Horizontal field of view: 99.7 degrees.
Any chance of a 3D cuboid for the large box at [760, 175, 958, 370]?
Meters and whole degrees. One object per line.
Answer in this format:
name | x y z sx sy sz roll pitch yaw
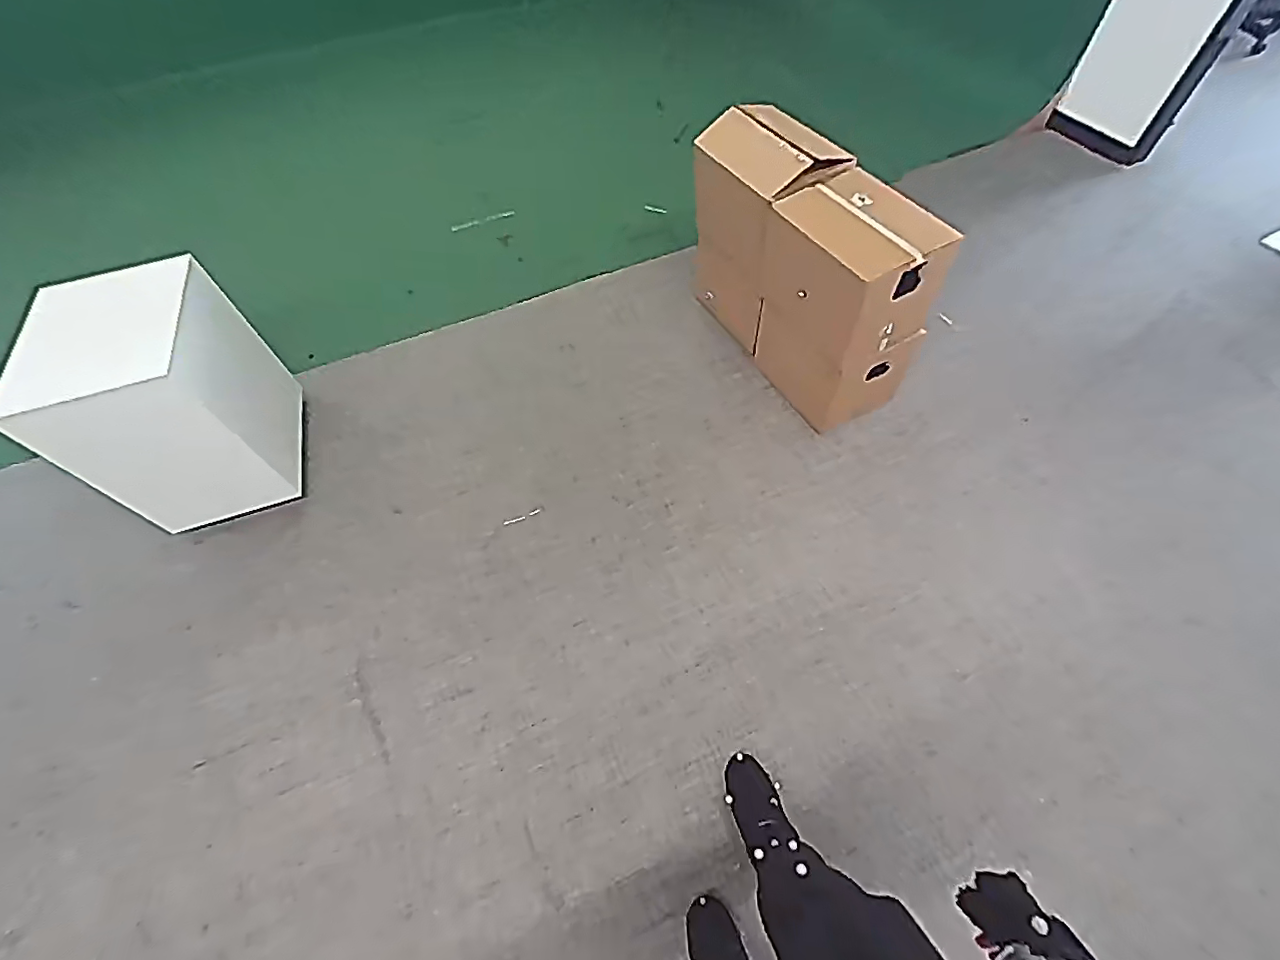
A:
large box | 0.594 -0.595 1.558 0.320 0.320 0.408 -27 58 -11
